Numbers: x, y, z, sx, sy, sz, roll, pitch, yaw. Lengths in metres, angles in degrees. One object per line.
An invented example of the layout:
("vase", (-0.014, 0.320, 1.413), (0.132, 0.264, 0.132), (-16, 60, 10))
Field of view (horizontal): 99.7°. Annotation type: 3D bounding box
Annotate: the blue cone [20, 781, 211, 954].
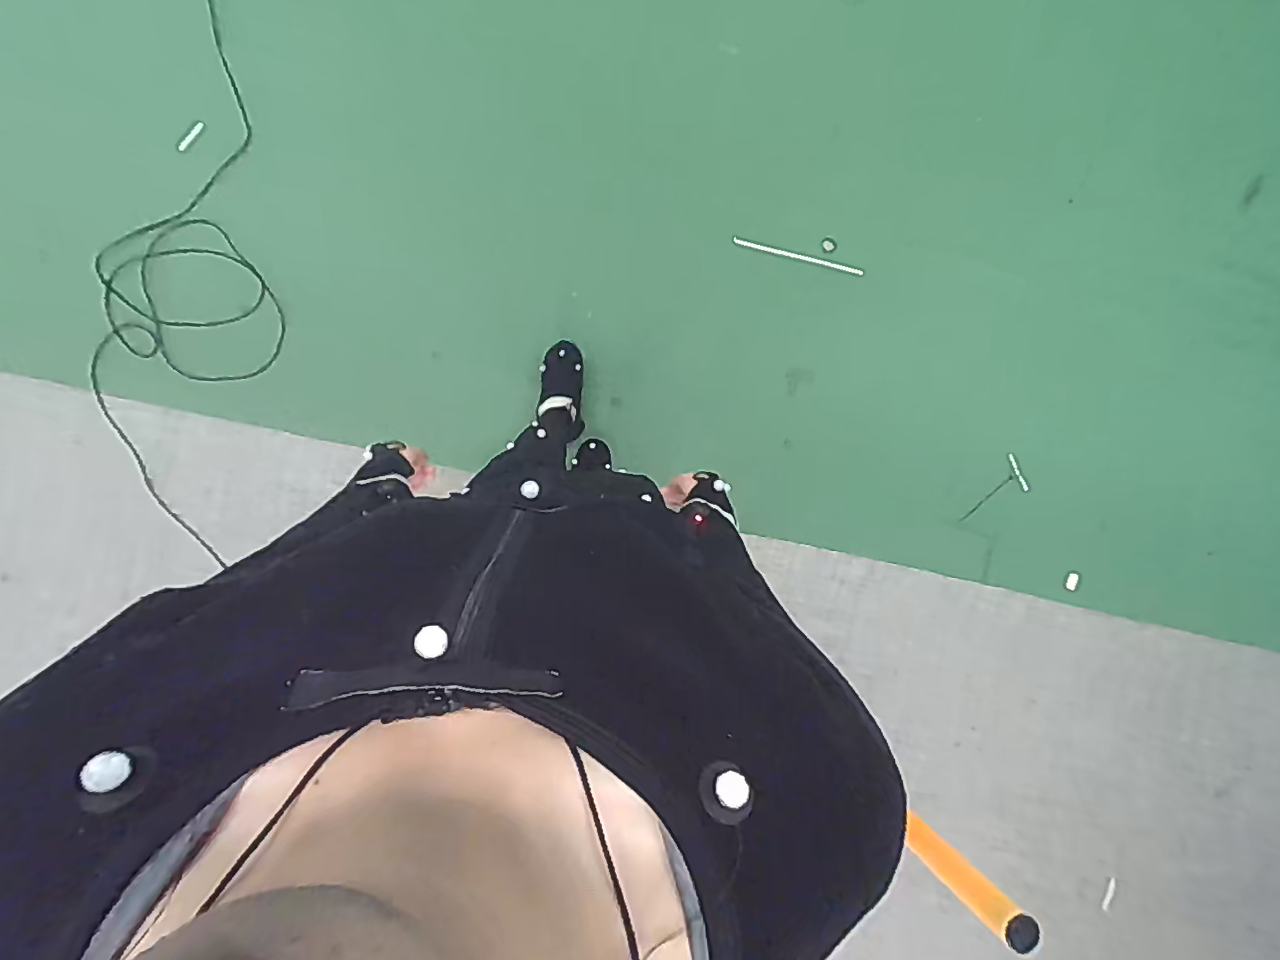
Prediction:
("blue cone", (-1.278, 0.954, 1.308), (0.193, 0.380, 0.192), (-31, 98, 1))
